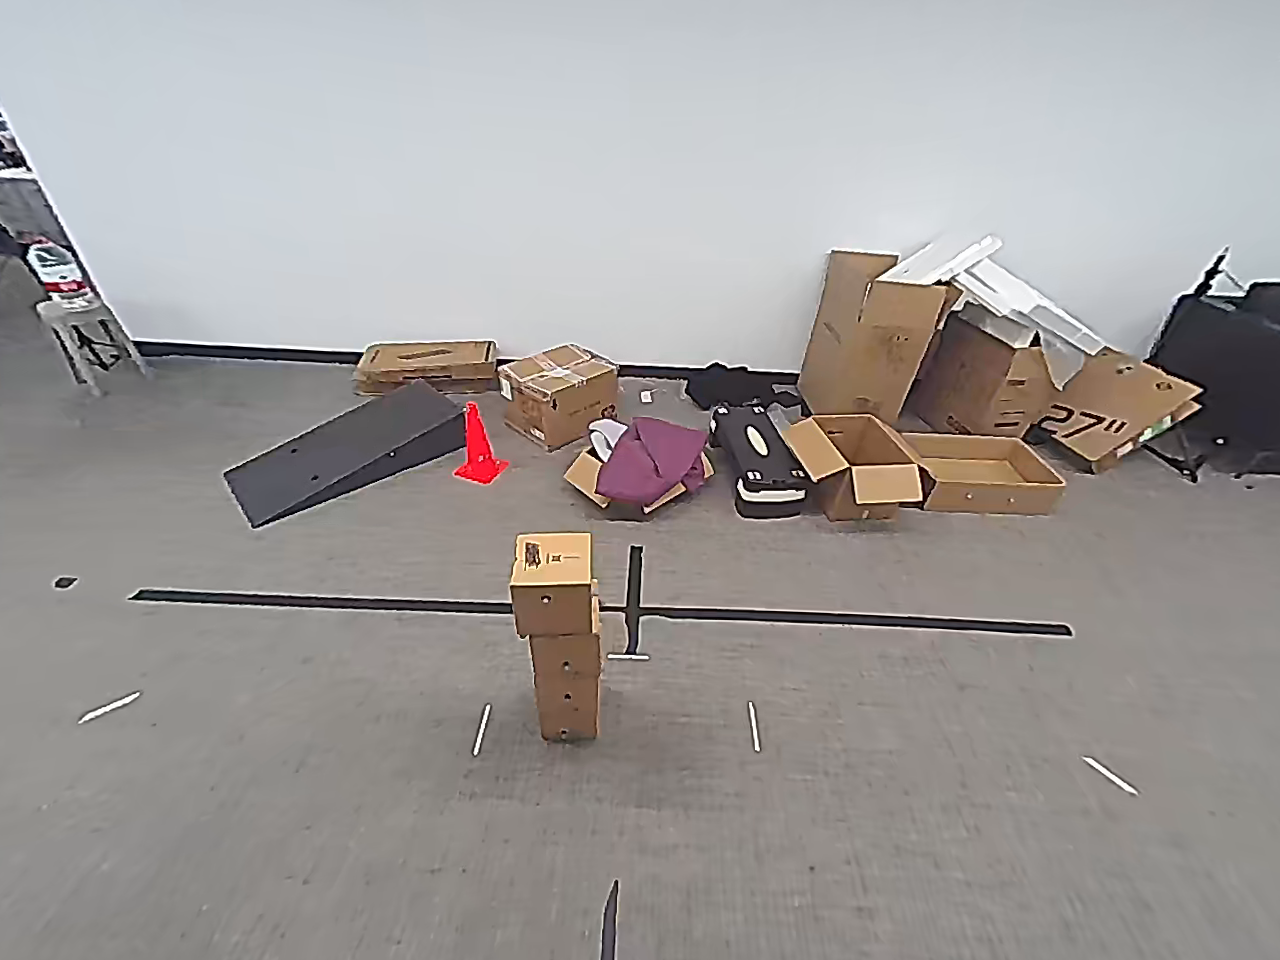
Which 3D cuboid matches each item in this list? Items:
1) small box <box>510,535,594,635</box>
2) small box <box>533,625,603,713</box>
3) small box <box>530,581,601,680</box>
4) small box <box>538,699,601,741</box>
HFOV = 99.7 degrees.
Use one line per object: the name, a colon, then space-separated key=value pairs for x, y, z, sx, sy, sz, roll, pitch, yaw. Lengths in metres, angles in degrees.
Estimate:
small box: x=-0.199 y=0.246 z=1.267 sx=0.179 sy=0.176 sz=0.168 roll=-1 pitch=36 yaw=-5
small box: x=-0.188 y=0.511 z=1.465 sx=0.168 sy=0.176 sz=0.179 roll=1 pitch=37 yaw=-1
small box: x=-0.184 y=0.378 z=1.366 sx=0.168 sy=0.176 sz=0.179 roll=-3 pitch=37 yaw=-5
small box: x=-0.199 y=0.633 z=1.576 sx=0.168 sy=0.176 sz=0.179 roll=0 pitch=38 yaw=-2
